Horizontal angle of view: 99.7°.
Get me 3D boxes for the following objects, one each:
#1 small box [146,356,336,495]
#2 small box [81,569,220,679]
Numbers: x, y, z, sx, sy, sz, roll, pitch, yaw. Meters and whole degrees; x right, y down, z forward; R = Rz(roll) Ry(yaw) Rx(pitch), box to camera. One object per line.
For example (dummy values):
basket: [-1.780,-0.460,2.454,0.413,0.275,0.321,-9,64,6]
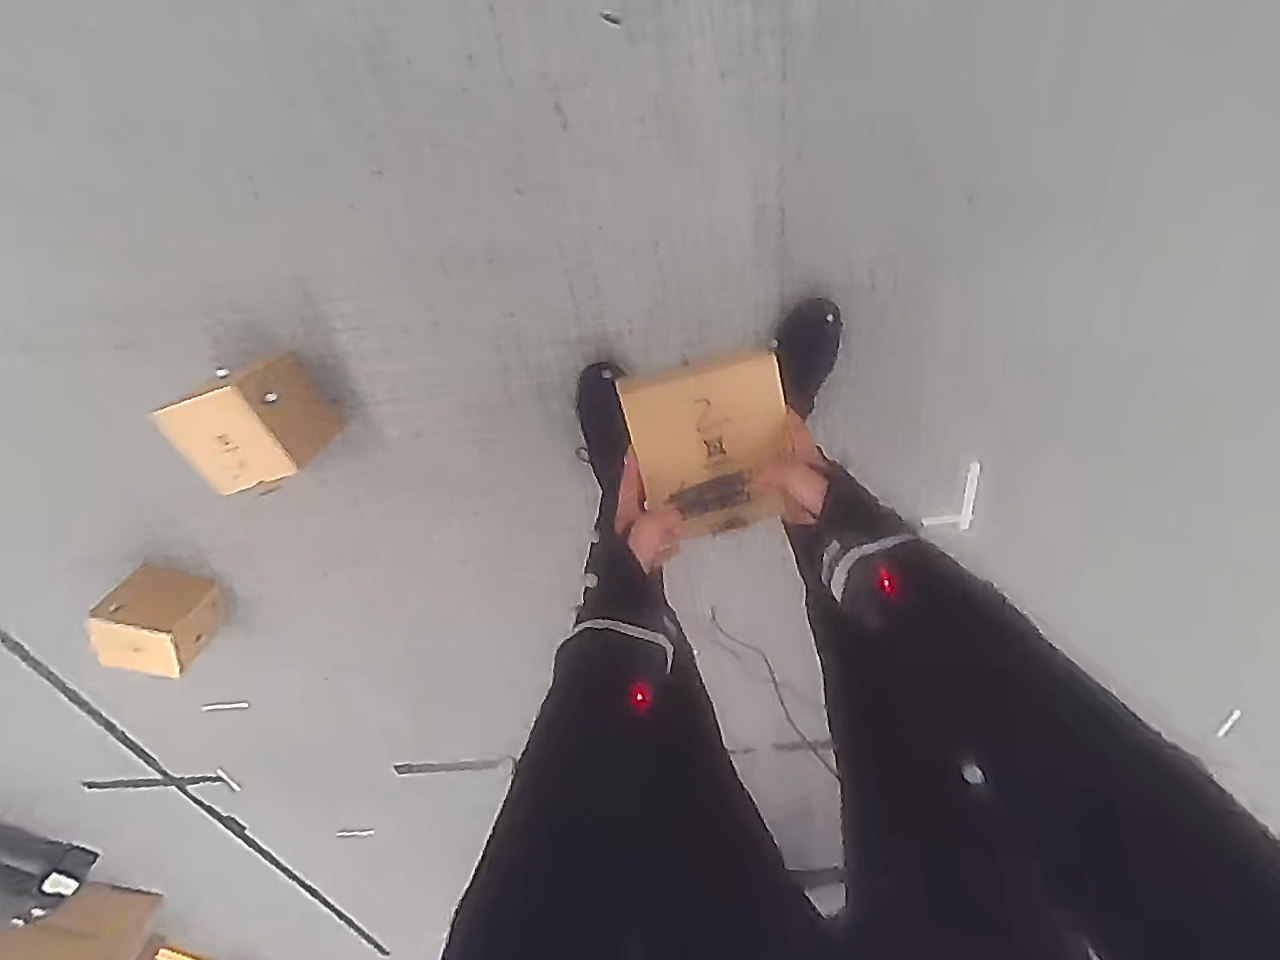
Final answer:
small box: [-0.694,-0.105,0.966,0.168,0.176,0.179,-15,123,10]
small box: [-1.126,0.333,1.267,0.179,0.176,0.168,15,123,-9]
